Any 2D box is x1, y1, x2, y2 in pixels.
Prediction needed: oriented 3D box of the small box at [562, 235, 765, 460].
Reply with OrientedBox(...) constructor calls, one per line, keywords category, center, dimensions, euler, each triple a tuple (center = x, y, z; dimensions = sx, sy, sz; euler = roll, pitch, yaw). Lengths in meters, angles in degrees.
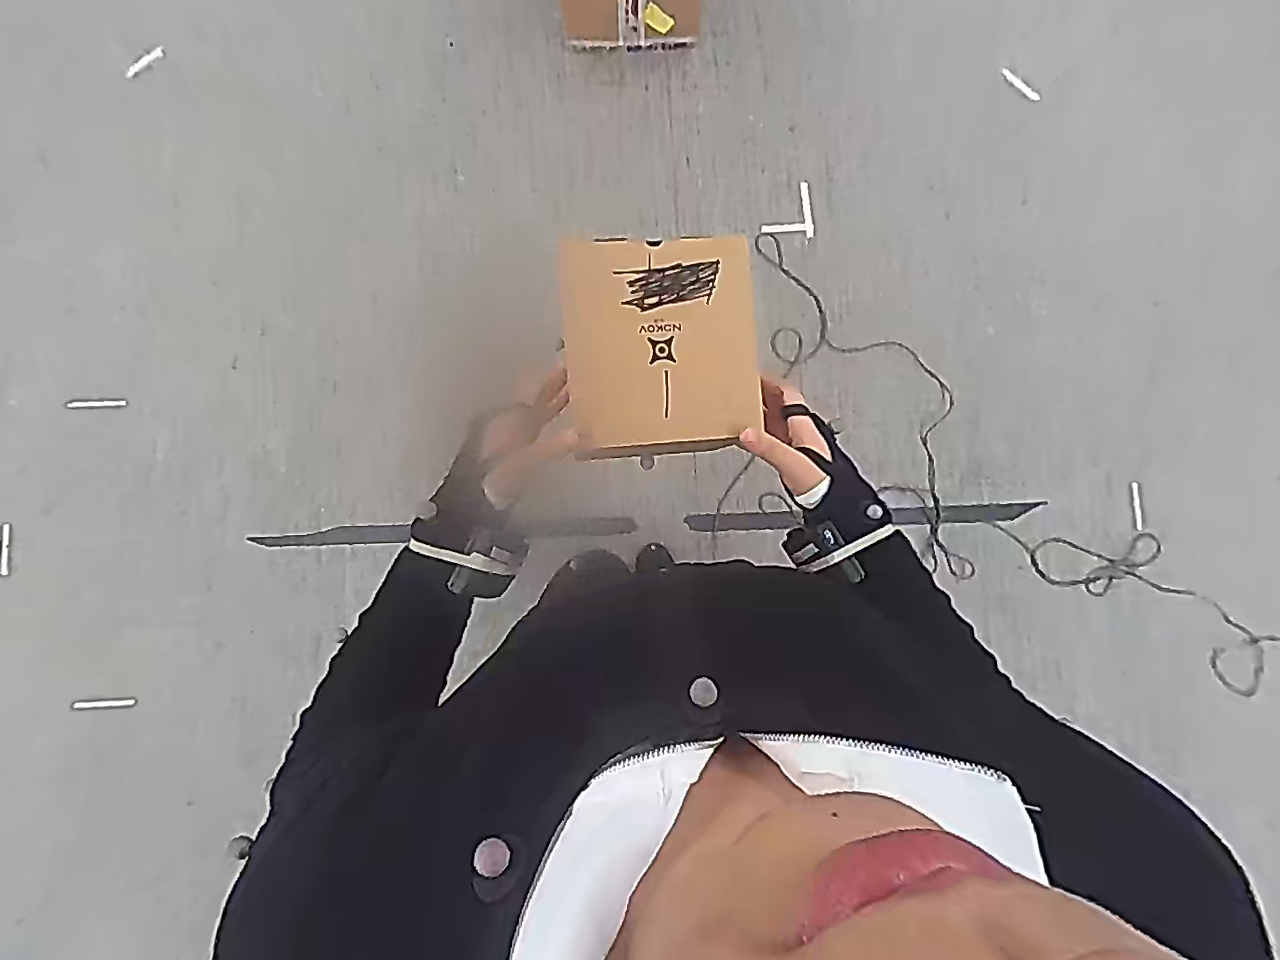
OrientedBox(category="small box", center=(0.011, -0.117, 0.534), dimensions=(0.168, 0.176, 0.179), euler=(-5, 89, -6))
